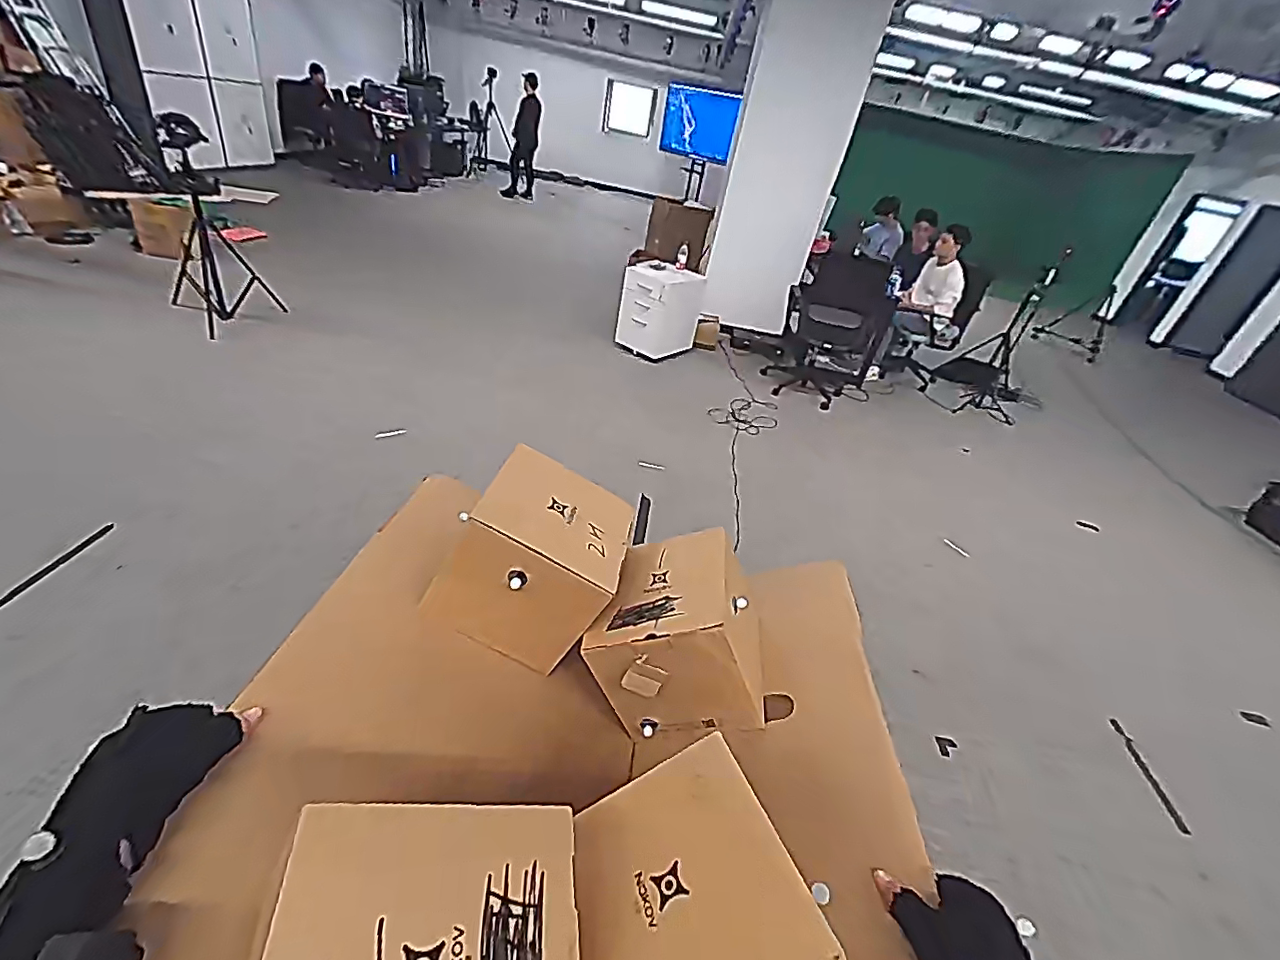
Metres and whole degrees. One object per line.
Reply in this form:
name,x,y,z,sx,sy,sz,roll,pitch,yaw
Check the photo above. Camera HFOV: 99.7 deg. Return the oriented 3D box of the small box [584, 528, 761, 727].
small box,0.052,0.191,0.685,0.168,0.176,0.179,-14,27,17
